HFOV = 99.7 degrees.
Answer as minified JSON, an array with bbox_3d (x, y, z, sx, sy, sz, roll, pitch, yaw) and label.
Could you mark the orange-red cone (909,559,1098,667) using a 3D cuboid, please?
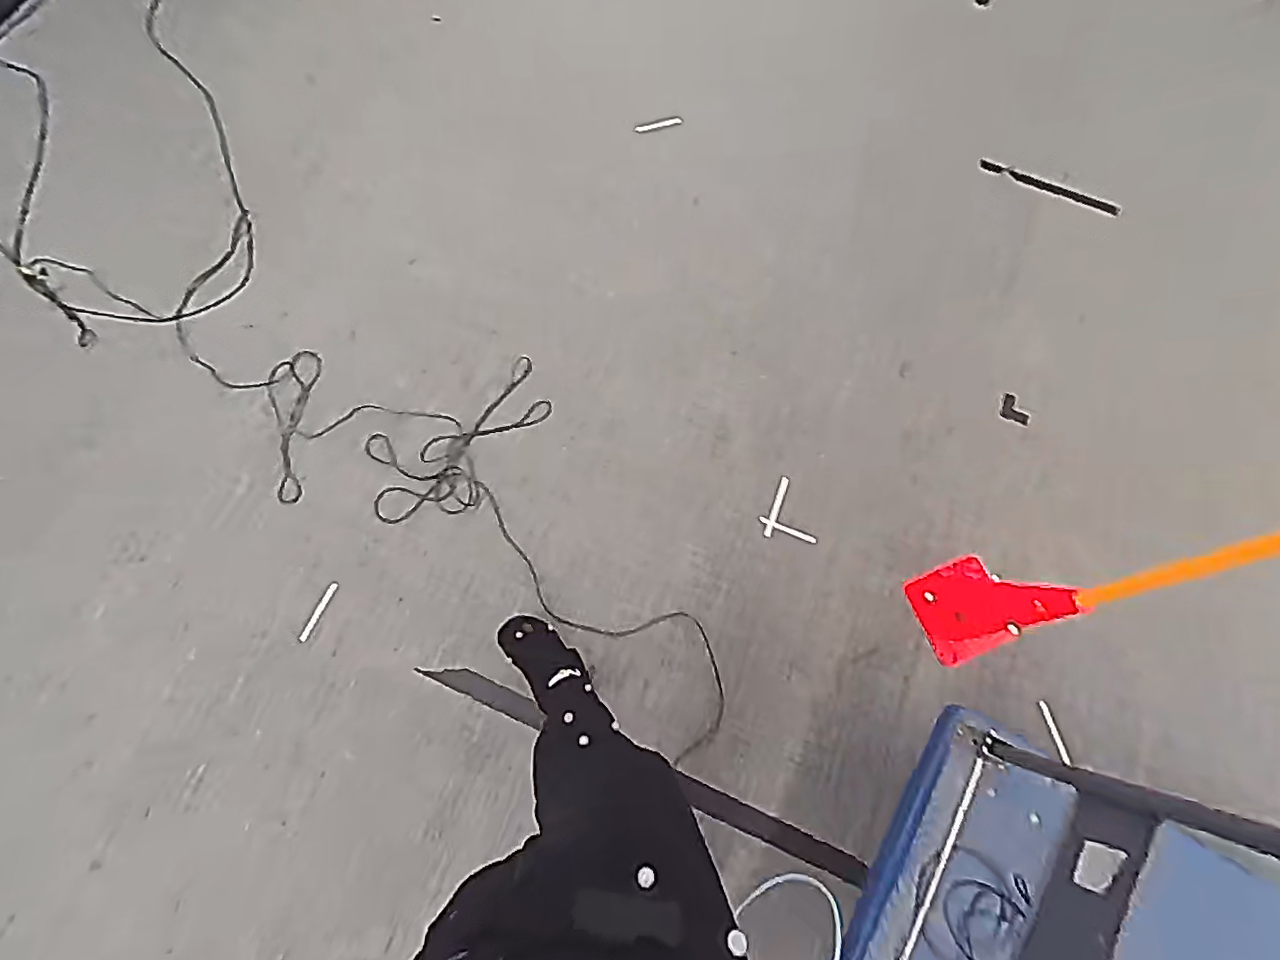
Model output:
[{"bbox_3d":[0.724,0.250,1.043,0.198,0.360,0.199,-21,76,-5],"label":"orange-red cone"}]
